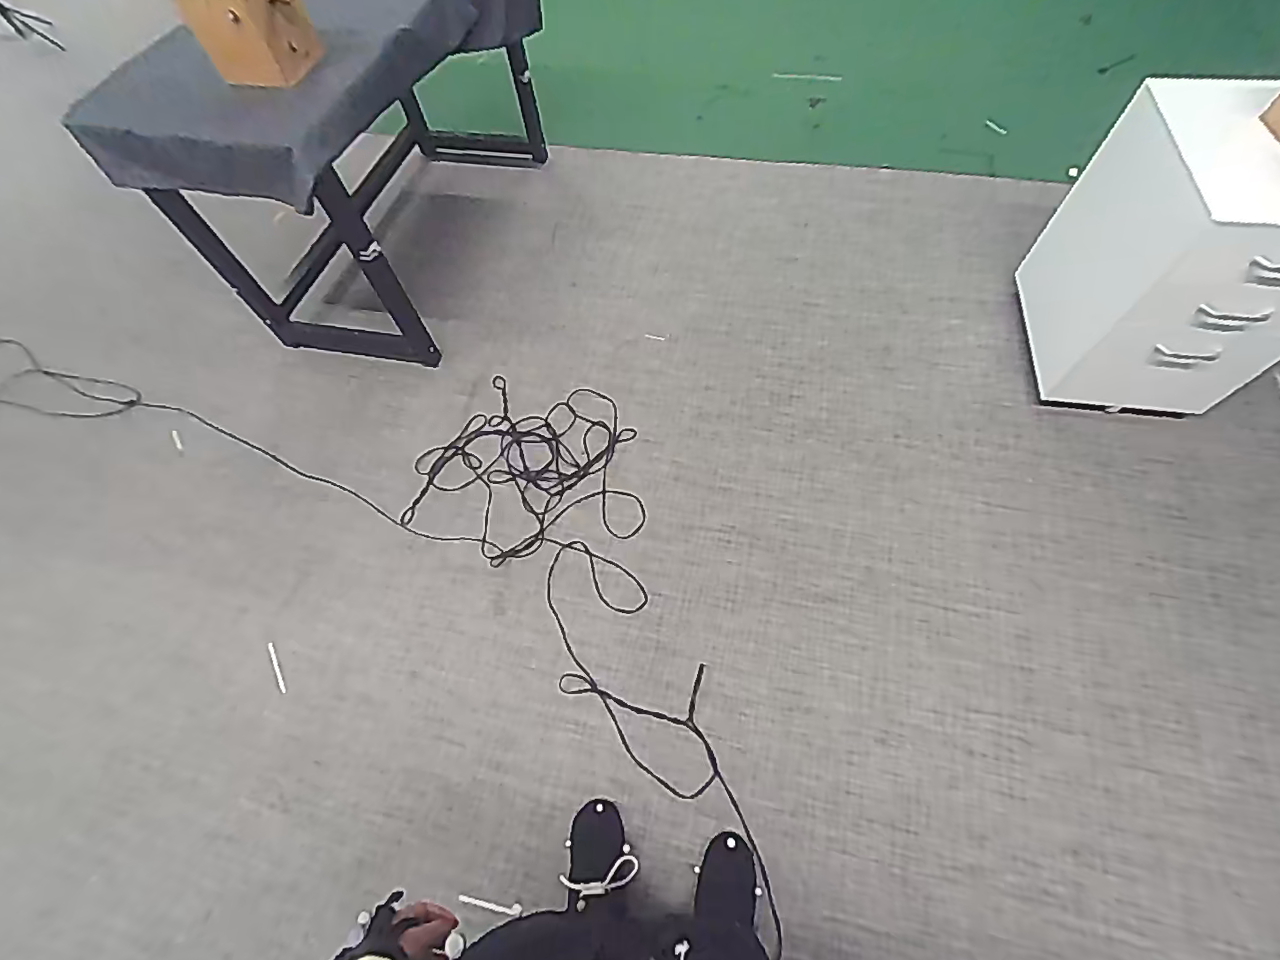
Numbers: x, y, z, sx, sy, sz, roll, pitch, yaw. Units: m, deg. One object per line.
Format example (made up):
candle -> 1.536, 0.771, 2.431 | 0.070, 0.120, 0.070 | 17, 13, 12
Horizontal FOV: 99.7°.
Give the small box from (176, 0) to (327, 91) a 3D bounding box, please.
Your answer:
small box -> -0.855, -1.002, 1.209 | 0.179, 0.176, 0.168 | 9, 61, 9
